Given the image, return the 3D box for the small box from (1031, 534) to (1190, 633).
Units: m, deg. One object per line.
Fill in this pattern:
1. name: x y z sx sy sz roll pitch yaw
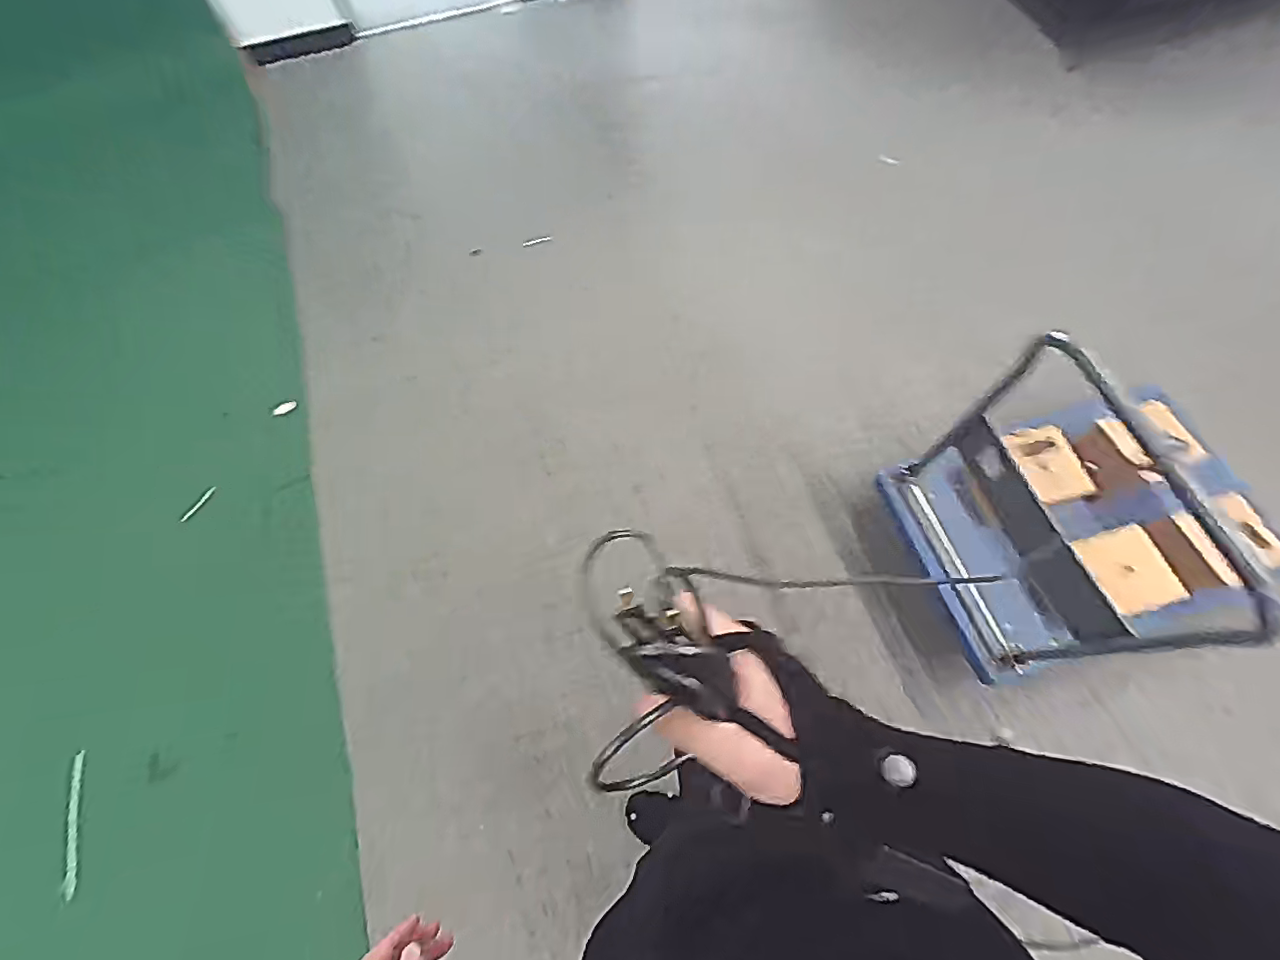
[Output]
1. small box: 1.056 0.240 1.232 0.179 0.176 0.168 -15 68 -4

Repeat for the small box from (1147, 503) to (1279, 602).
1. small box: 1.304 0.175 1.250 0.179 0.176 0.168 -18 67 -5

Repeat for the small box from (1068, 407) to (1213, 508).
1. small box: 1.223 -0.048 1.345 0.179 0.176 0.168 -20 69 -6
